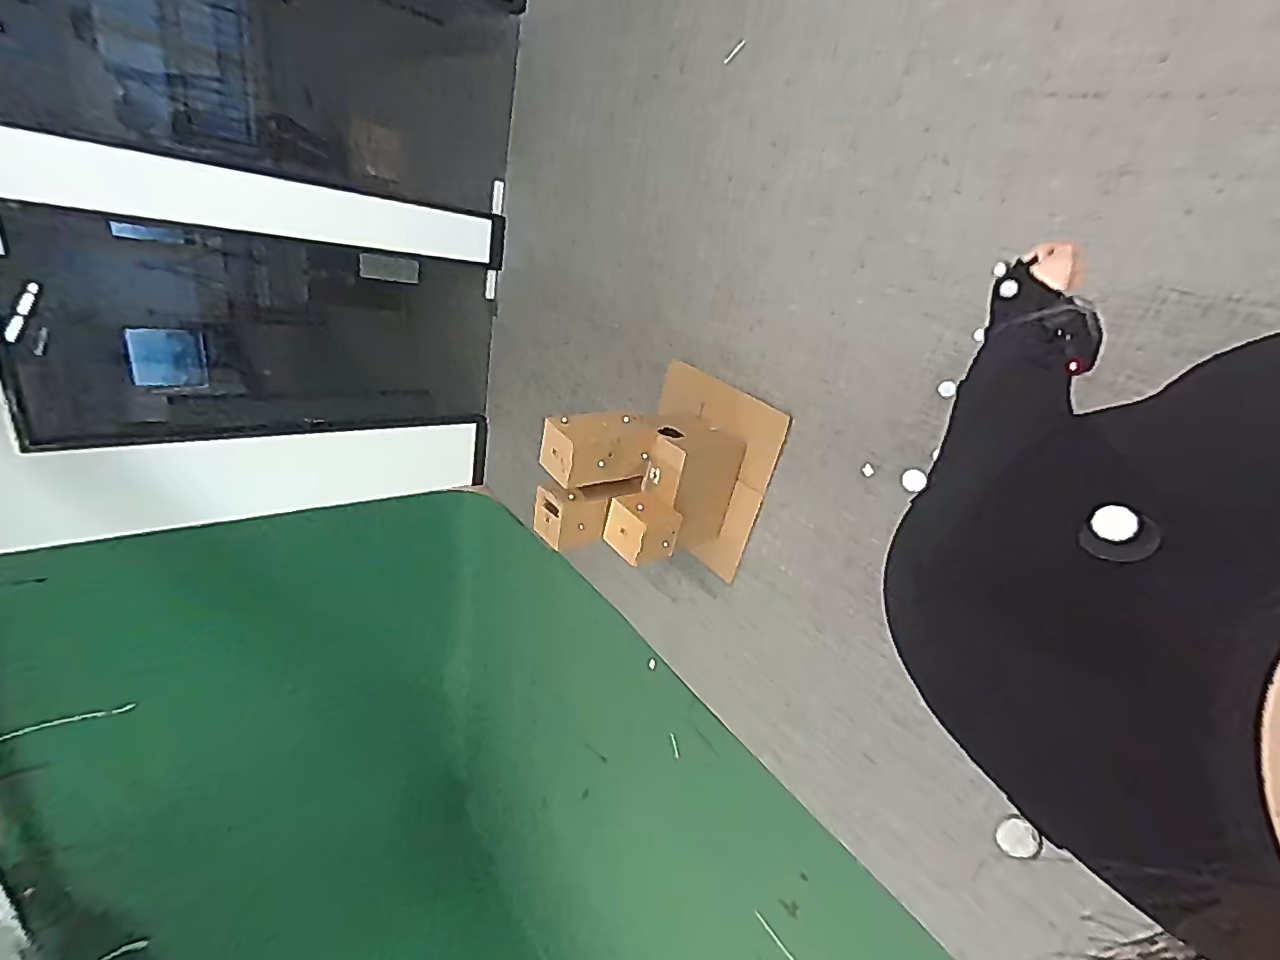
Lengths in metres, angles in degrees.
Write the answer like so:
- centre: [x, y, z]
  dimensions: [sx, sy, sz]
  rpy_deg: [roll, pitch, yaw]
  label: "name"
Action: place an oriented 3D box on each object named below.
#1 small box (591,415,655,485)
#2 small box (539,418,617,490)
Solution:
- centre: [-0.070, -0.109, 1.832]
  dimensions: [0.168, 0.176, 0.179]
  rpy_deg: [40, 128, 38]
  label: "small box"
- centre: [-0.199, -0.088, 1.727]
  dimensions: [0.179, 0.176, 0.168]
  rpy_deg: [40, 128, 38]
  label: "small box"
